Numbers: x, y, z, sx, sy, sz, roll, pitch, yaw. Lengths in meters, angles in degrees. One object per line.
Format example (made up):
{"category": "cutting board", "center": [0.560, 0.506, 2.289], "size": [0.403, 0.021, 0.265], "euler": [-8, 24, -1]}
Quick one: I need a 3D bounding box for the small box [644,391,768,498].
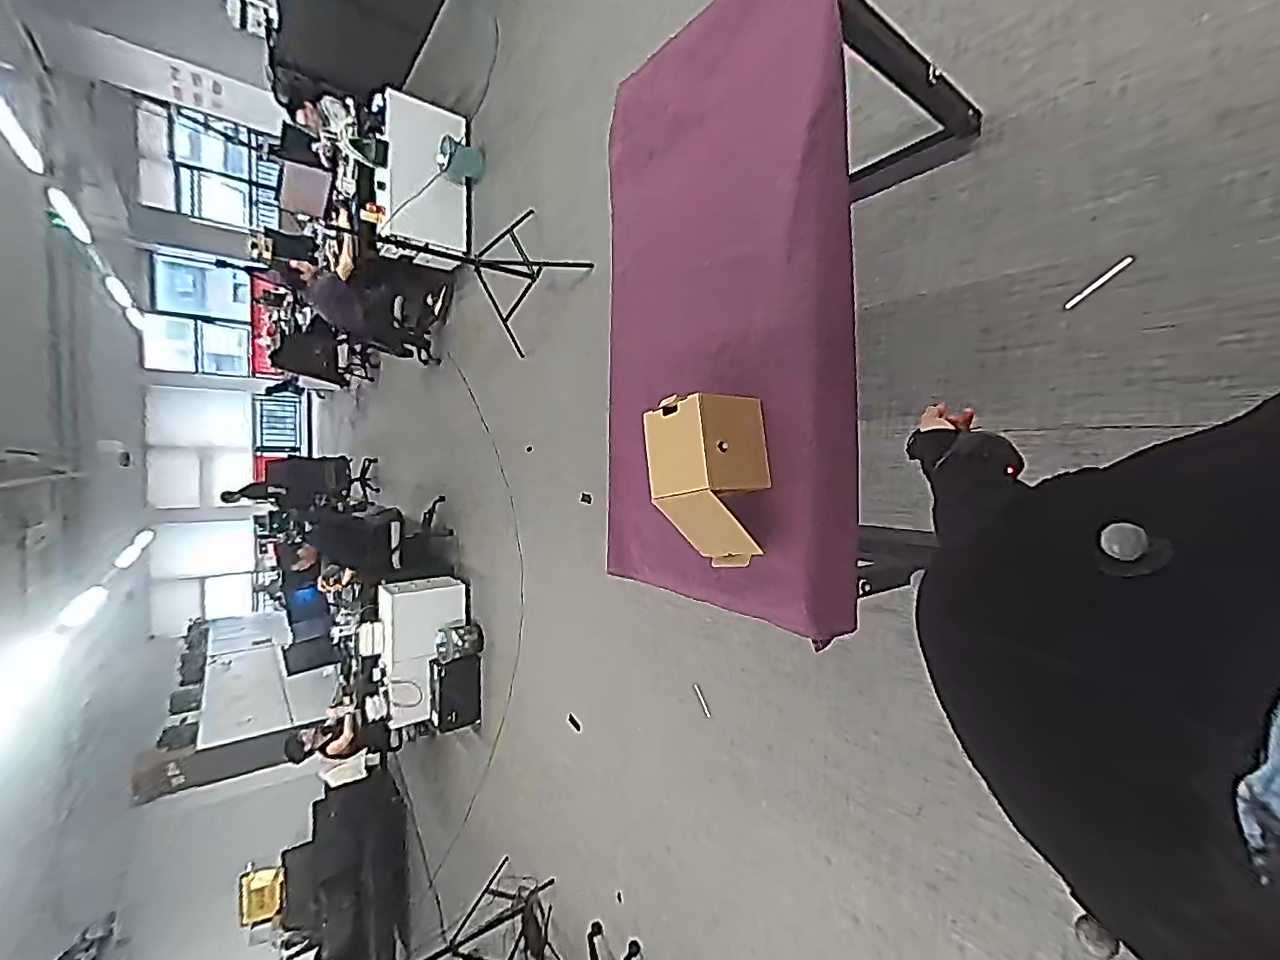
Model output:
{"category": "small box", "center": [0.129, -0.063, 1.044], "size": [0.168, 0.176, 0.179], "euler": [-13, 81, 52]}
